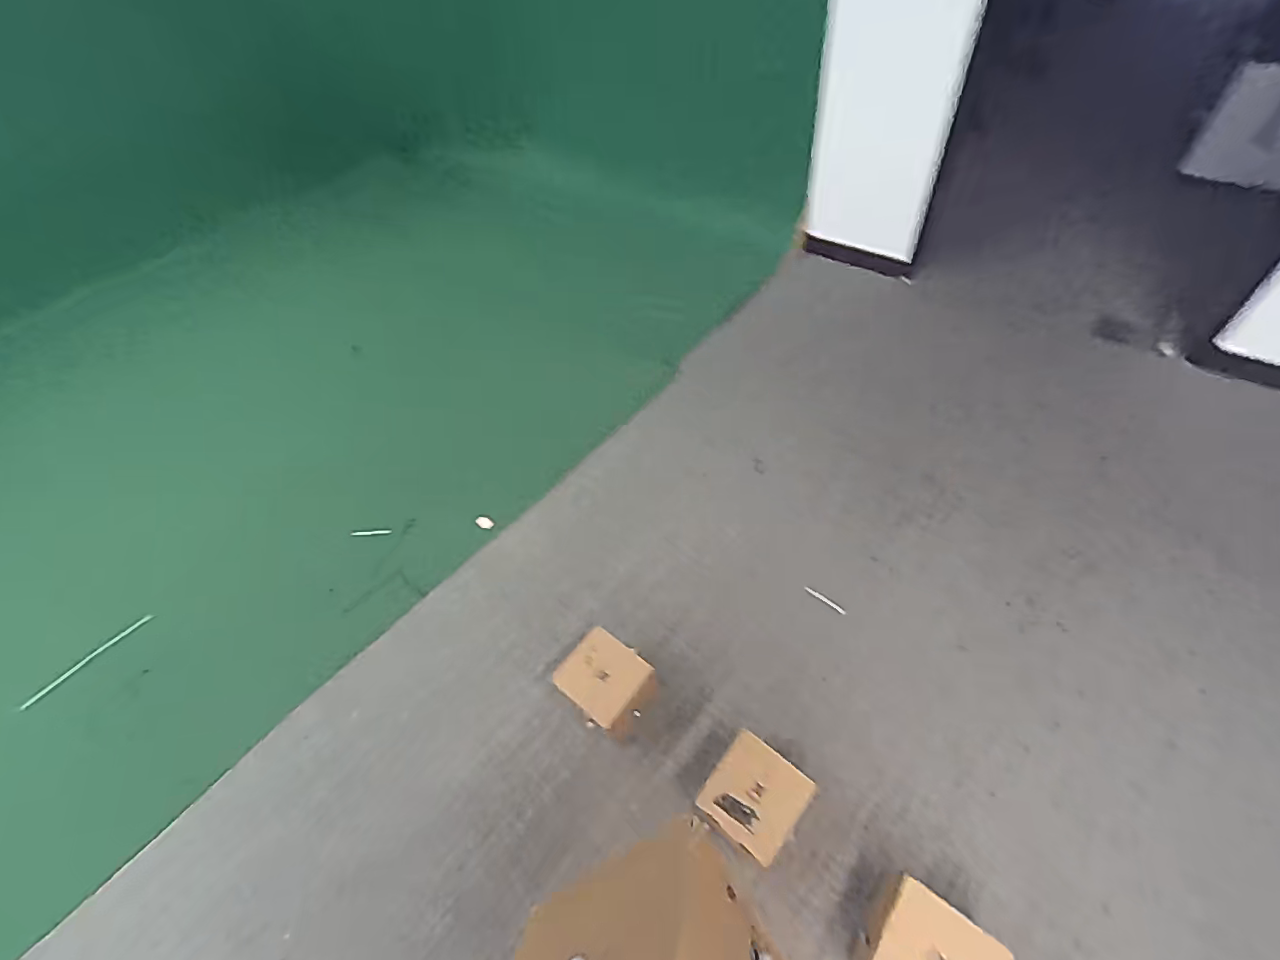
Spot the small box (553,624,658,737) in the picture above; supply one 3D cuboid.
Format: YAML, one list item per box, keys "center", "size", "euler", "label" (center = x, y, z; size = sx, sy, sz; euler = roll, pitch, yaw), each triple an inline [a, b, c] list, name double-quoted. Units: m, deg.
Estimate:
- center: [-0.072, 0.483, 1.283]
  size: [0.179, 0.176, 0.168]
  euler: [32, 63, 28]
  label: "small box"

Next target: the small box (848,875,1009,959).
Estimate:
- center: [0.482, 0.827, 0.930]
  size: [0.179, 0.176, 0.168]
  euler: [30, 63, 27]
  label: "small box"

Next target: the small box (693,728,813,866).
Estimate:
- center: [0.230, 0.651, 1.104]
  size: [0.168, 0.176, 0.179]
  euler: [32, 63, 29]
  label: "small box"
